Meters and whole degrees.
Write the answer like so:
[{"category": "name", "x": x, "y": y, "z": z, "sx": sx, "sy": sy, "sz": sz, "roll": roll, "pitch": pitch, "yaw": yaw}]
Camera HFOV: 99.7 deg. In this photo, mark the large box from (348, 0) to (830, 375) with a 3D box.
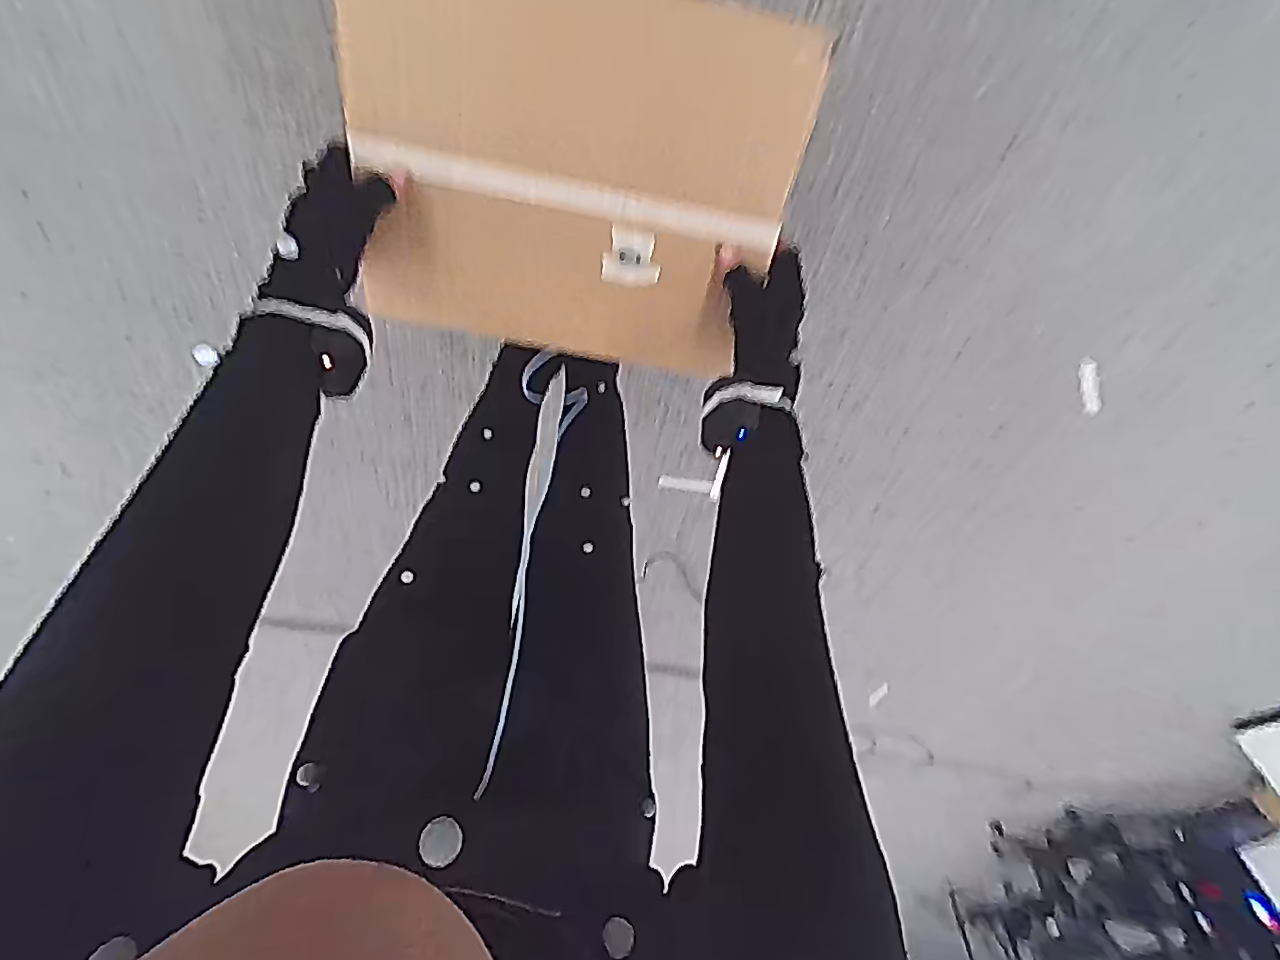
[{"category": "large box", "x": -0.061, "y": -0.355, "z": 0.638, "sx": 0.408, "sy": 0.320, "sz": 0.320, "roll": 9, "pitch": 125, "yaw": -6}]
